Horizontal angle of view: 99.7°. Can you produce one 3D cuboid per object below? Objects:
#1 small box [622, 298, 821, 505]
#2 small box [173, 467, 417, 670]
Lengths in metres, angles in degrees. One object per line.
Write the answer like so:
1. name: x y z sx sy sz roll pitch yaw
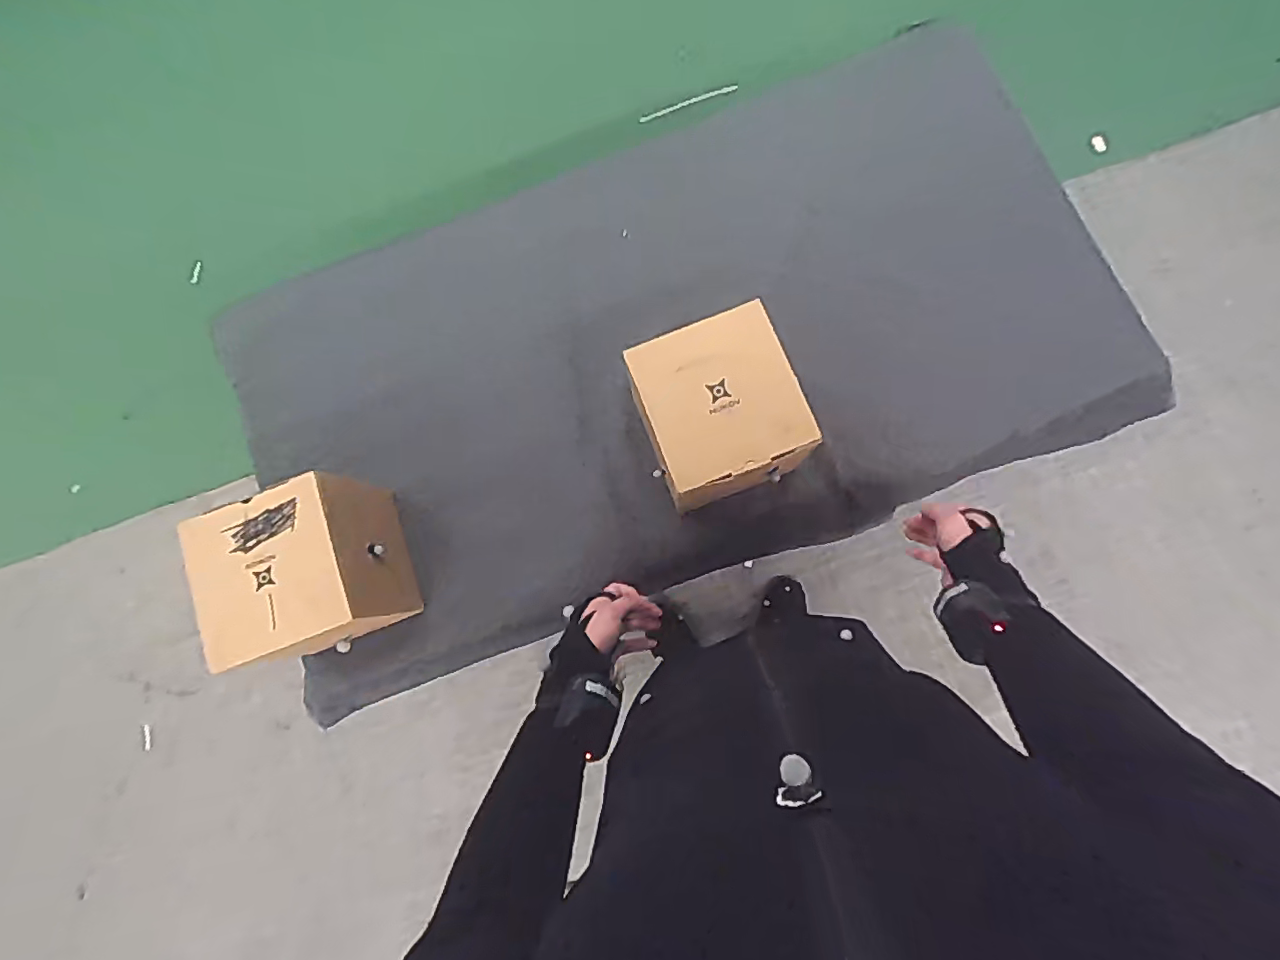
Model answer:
1. small box: 0.091 -0.078 0.652 0.168 0.176 0.179 -21 77 -1
2. small box: -0.399 0.106 0.651 0.168 0.176 0.179 -21 79 0
